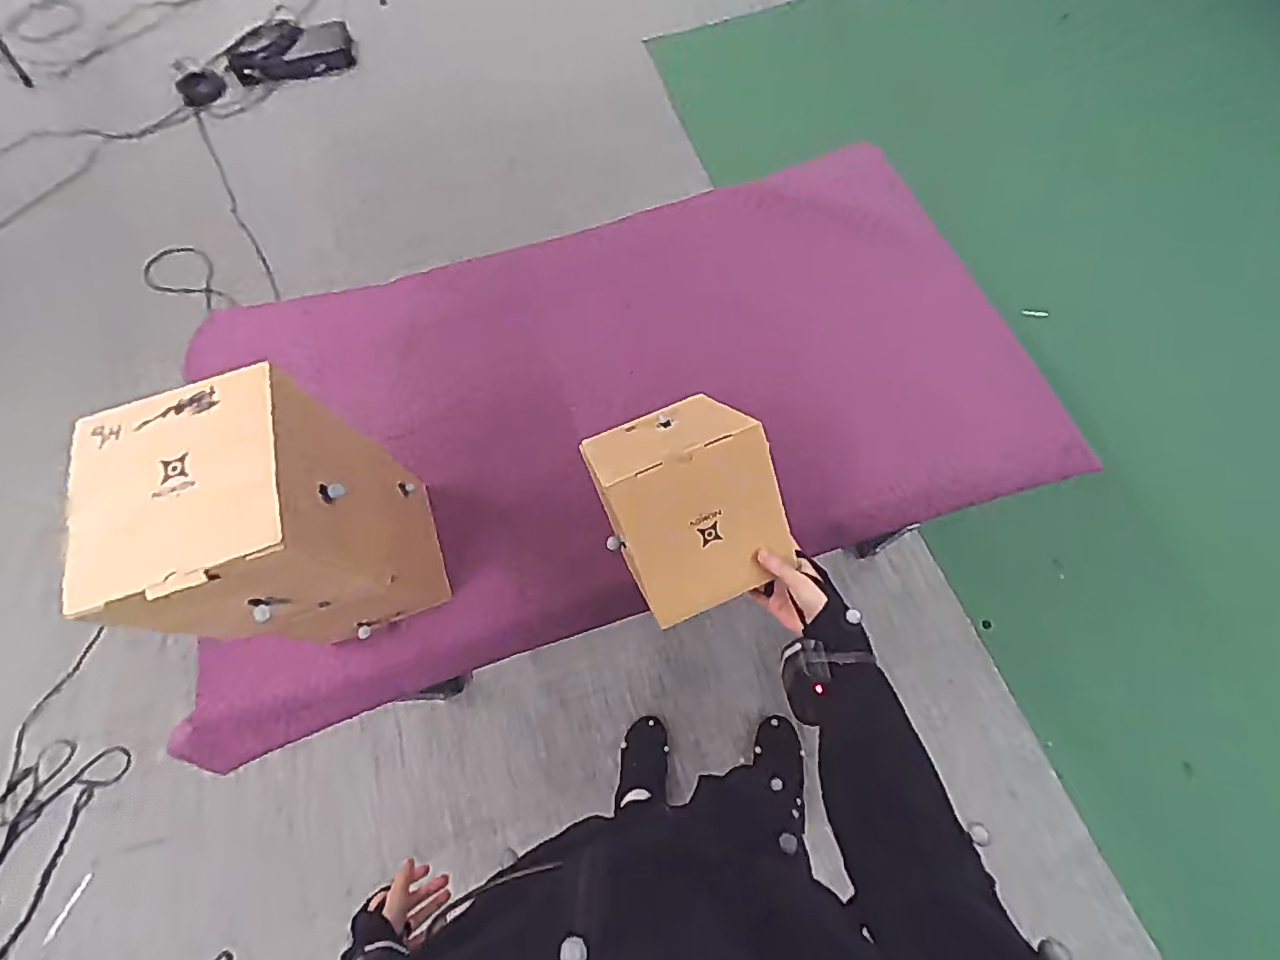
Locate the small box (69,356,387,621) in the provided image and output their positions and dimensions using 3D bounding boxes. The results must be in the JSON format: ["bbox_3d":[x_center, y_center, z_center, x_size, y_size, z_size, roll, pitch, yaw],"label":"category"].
[{"bbox_3d":[-0.359,0.022,0.501,0.168,0.176,0.179,-19,69,-4],"label":"small box"}]

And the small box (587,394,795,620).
[{"bbox_3d":[0.050,0.020,0.618,0.168,0.176,0.179,-22,112,-6],"label":"small box"}]

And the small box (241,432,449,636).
[{"bbox_3d":[-0.355,0.074,0.657,0.168,0.176,0.179,-20,69,-5],"label":"small box"}]
